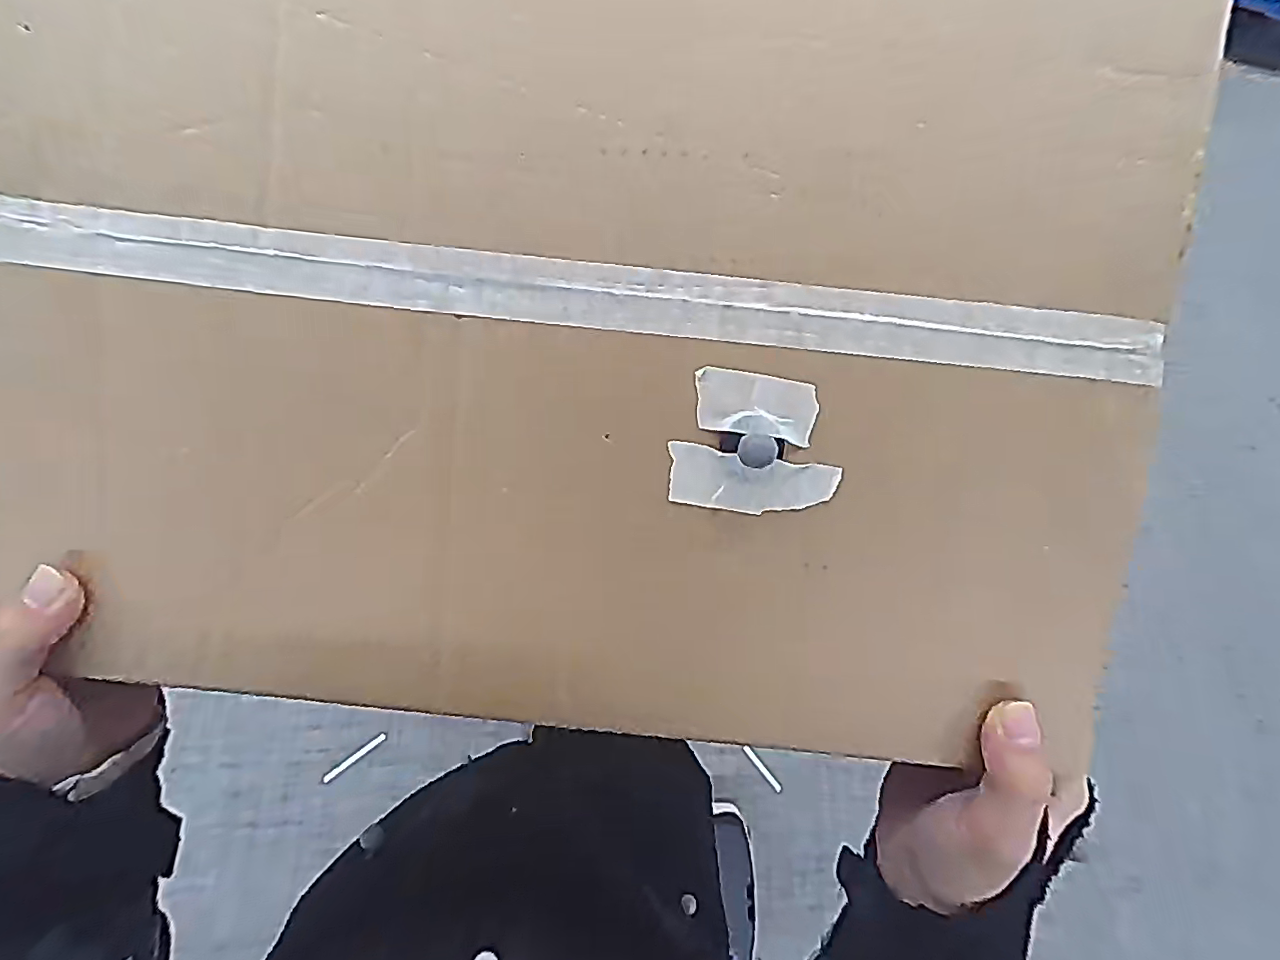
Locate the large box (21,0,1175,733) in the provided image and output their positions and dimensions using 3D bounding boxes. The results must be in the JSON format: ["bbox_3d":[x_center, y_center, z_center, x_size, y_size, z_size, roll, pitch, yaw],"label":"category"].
[{"bbox_3d":[-0.023,-0.079,0.346,0.408,0.320,0.320,6,96,-2],"label":"large box"}]
